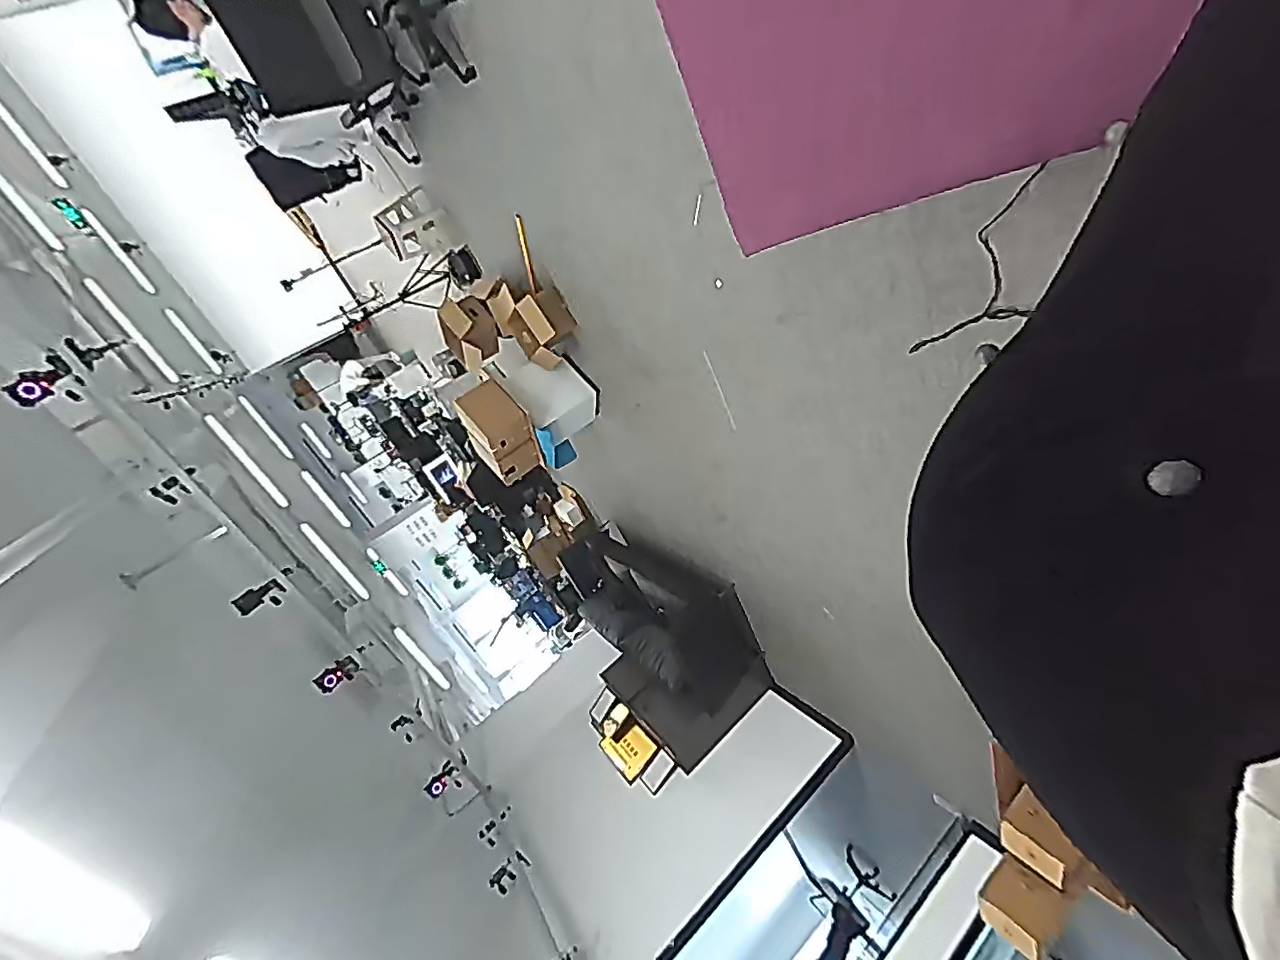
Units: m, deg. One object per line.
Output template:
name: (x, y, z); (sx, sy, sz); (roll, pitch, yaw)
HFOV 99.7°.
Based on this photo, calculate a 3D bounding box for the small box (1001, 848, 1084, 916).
small box: (1.300, 1.247, 1.747); (0.168, 0.176, 0.179); (25, 142, 54)

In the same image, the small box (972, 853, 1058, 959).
small box: (1.169, 1.323, 1.681); (0.168, 0.176, 0.179); (22, 140, 55)

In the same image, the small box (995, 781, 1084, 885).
small box: (1.205, 1.057, 1.632); (0.168, 0.176, 0.179); (28, 149, 51)
